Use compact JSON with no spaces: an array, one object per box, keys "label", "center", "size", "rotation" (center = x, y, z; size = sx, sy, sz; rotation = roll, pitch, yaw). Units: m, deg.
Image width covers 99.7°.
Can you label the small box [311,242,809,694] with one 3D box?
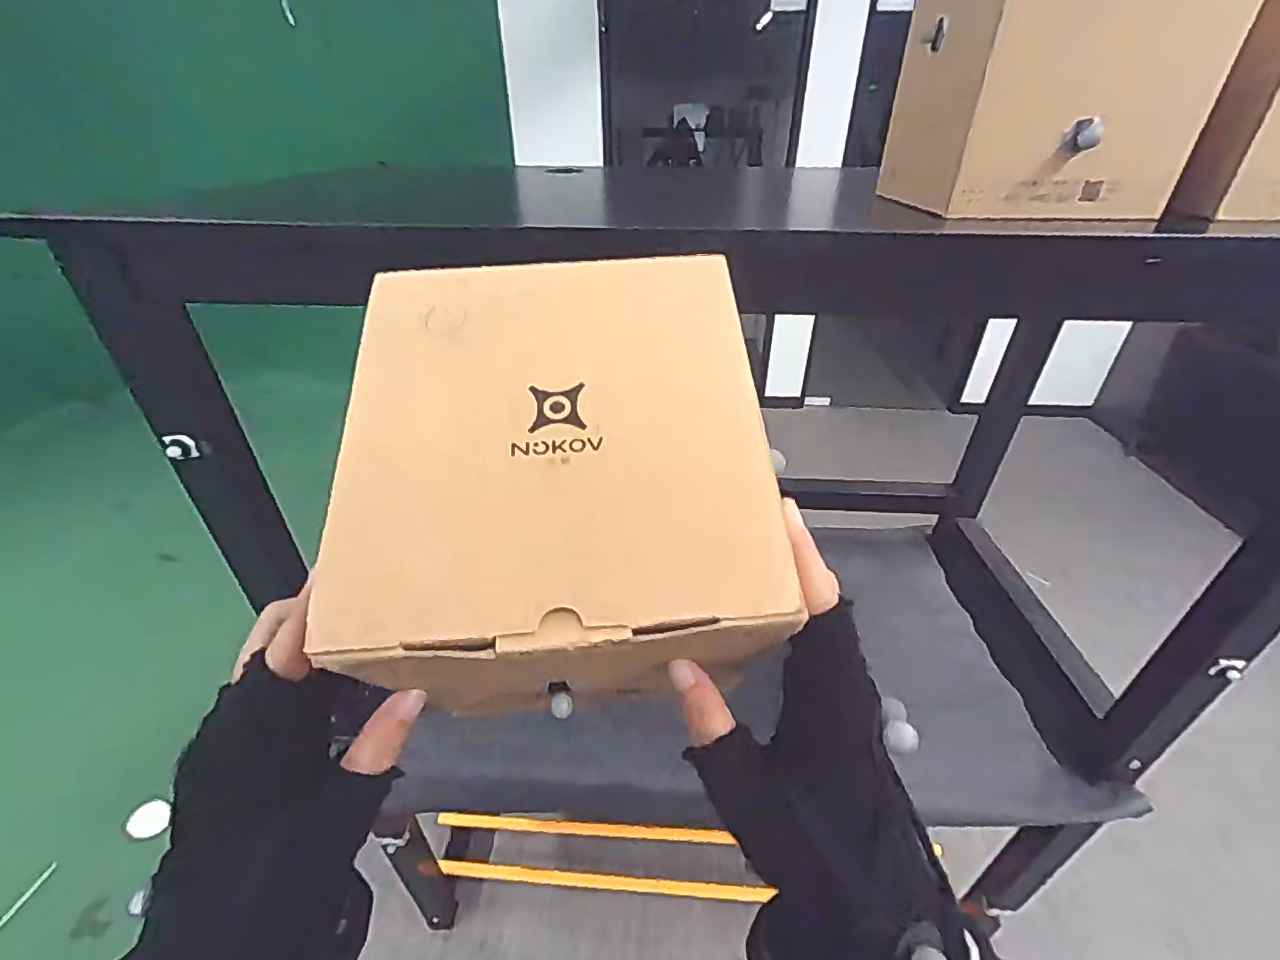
[{"label":"small box","center":[-0.032,0.005,0.285],"size":[0.168,0.176,0.179],"rotation":[-4,63,-3]}]

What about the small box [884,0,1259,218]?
[{"label":"small box","center":[0.325,-0.323,0.448],"size":[0.168,0.176,0.179],"rotation":[1,33,2]}]
